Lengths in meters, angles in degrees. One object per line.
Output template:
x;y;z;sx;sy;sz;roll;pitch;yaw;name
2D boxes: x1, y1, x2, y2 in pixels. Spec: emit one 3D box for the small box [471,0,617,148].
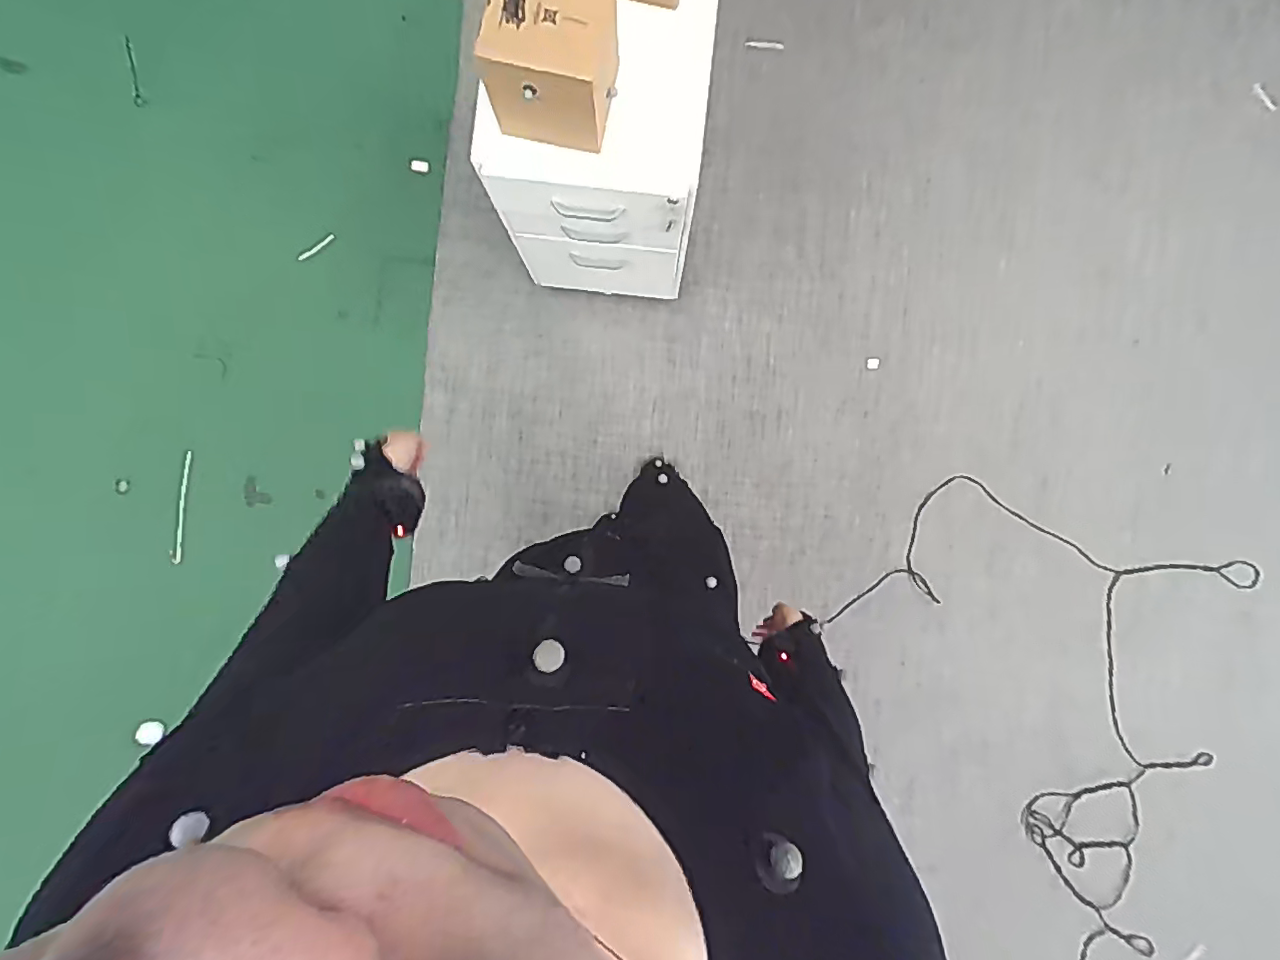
-0.139;-0.659;0.845;0.179;0.176;0.168;12;88;-1;small box
